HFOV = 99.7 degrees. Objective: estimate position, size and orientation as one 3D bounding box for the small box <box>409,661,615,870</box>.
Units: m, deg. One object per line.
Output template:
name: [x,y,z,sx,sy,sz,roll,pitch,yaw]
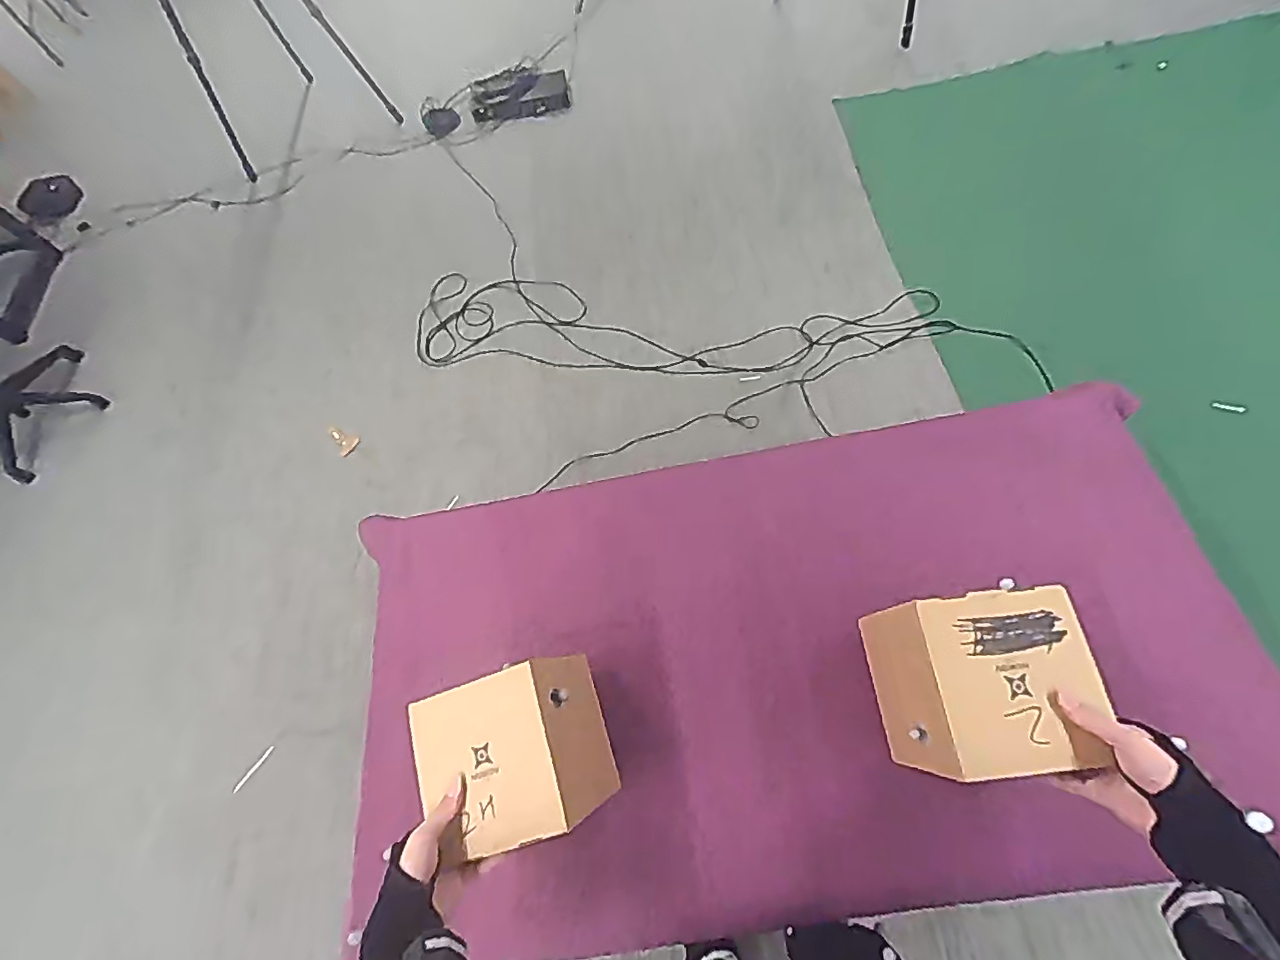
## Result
small box: [-0.150,0.332,0.663,0.168,0.176,0.179,-23,69,12]
